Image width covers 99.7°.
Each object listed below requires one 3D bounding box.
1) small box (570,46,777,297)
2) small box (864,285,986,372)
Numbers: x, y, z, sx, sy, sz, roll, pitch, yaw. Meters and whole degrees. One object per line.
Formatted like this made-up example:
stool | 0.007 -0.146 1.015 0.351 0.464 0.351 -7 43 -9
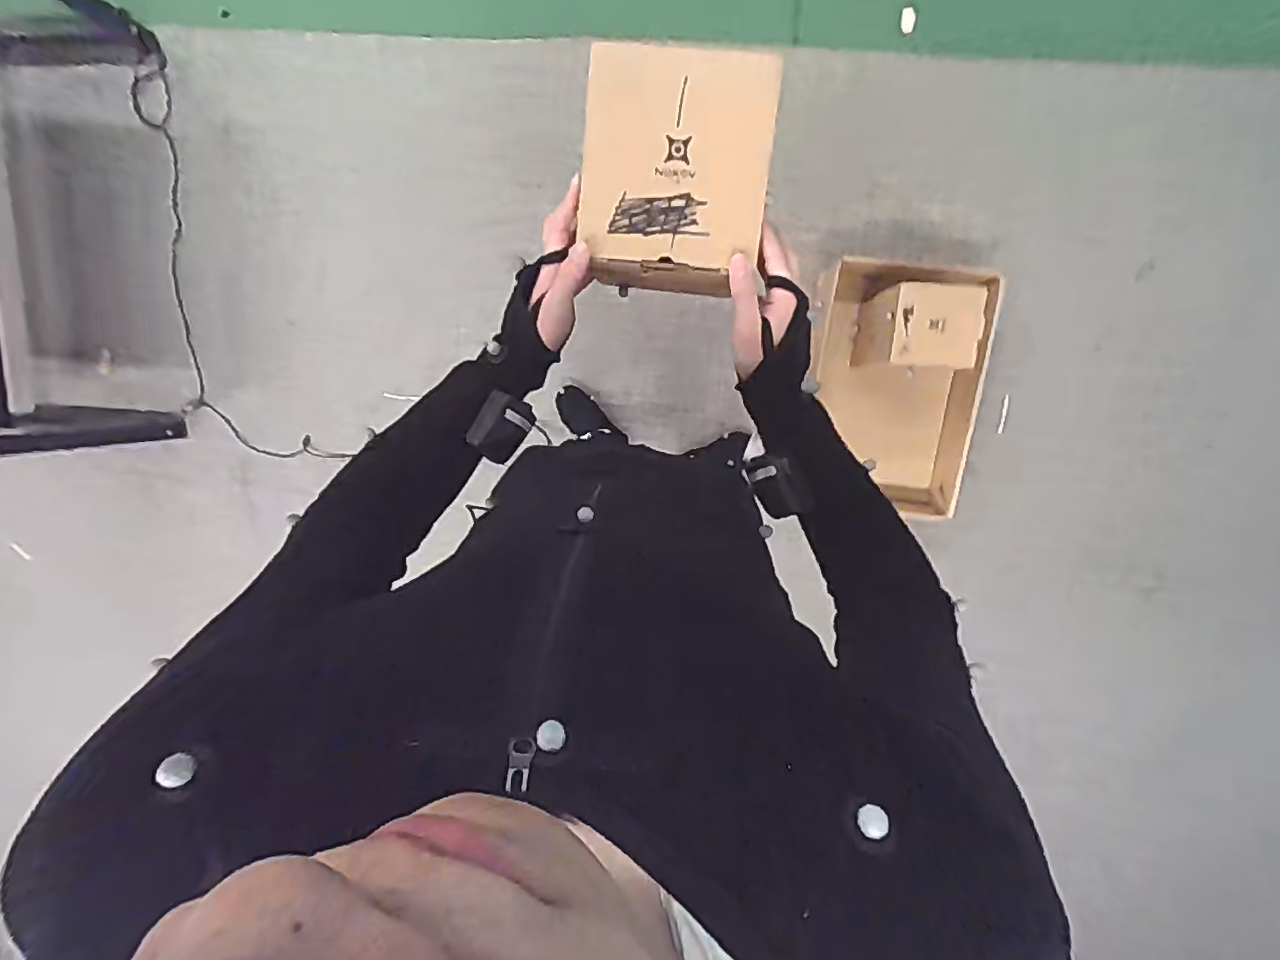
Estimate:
small box | 0.031 -0.289 0.548 0.168 0.176 0.179 6 101 2
small box | 0.627 -0.333 1.212 0.179 0.176 0.168 6 101 4
